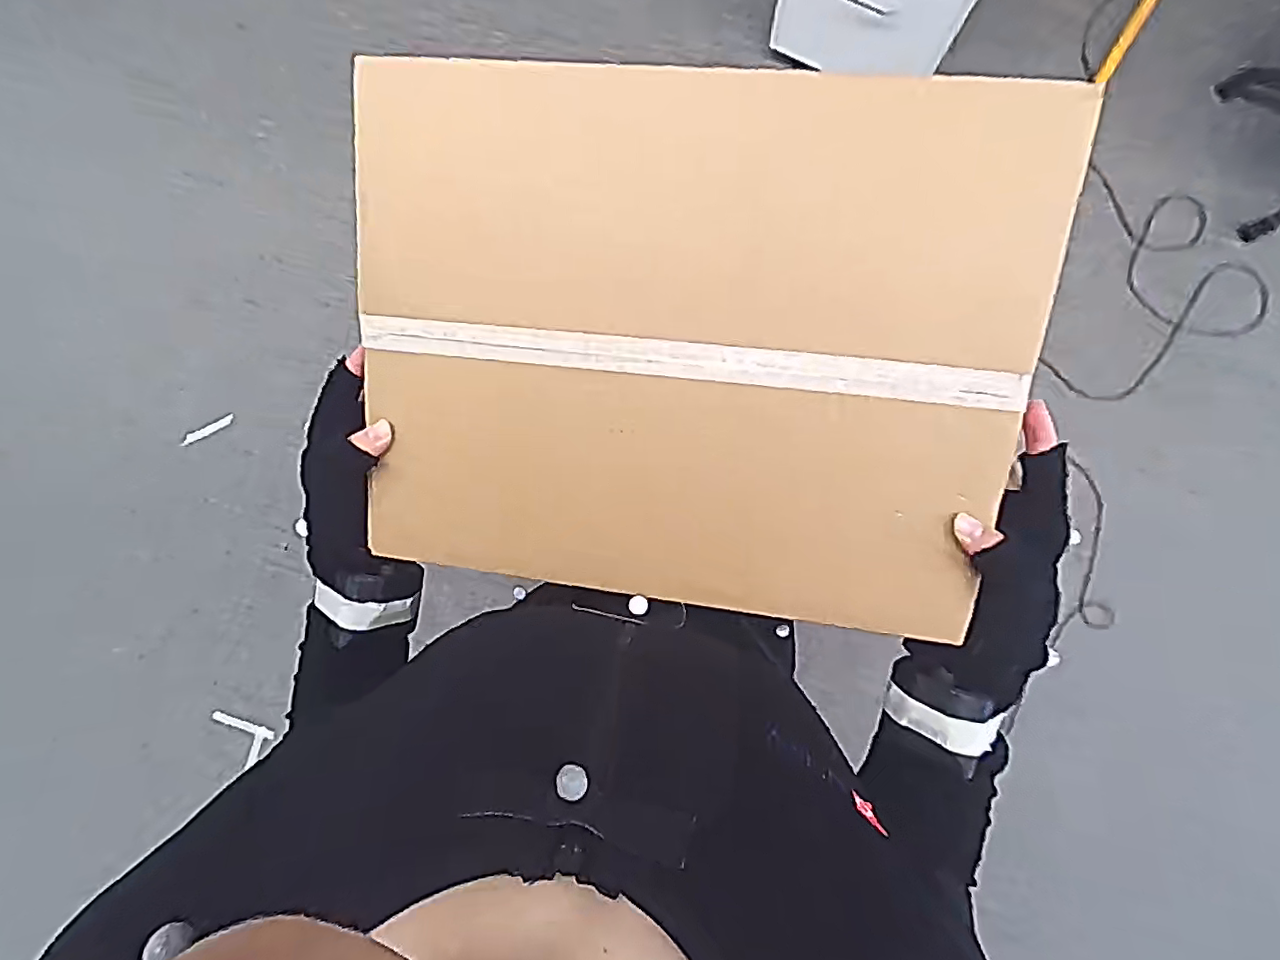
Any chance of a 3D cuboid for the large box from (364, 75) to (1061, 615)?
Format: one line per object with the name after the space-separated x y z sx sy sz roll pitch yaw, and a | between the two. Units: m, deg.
0.035 -0.109 0.483 0.408 0.320 0.320 6 104 7 | large box
